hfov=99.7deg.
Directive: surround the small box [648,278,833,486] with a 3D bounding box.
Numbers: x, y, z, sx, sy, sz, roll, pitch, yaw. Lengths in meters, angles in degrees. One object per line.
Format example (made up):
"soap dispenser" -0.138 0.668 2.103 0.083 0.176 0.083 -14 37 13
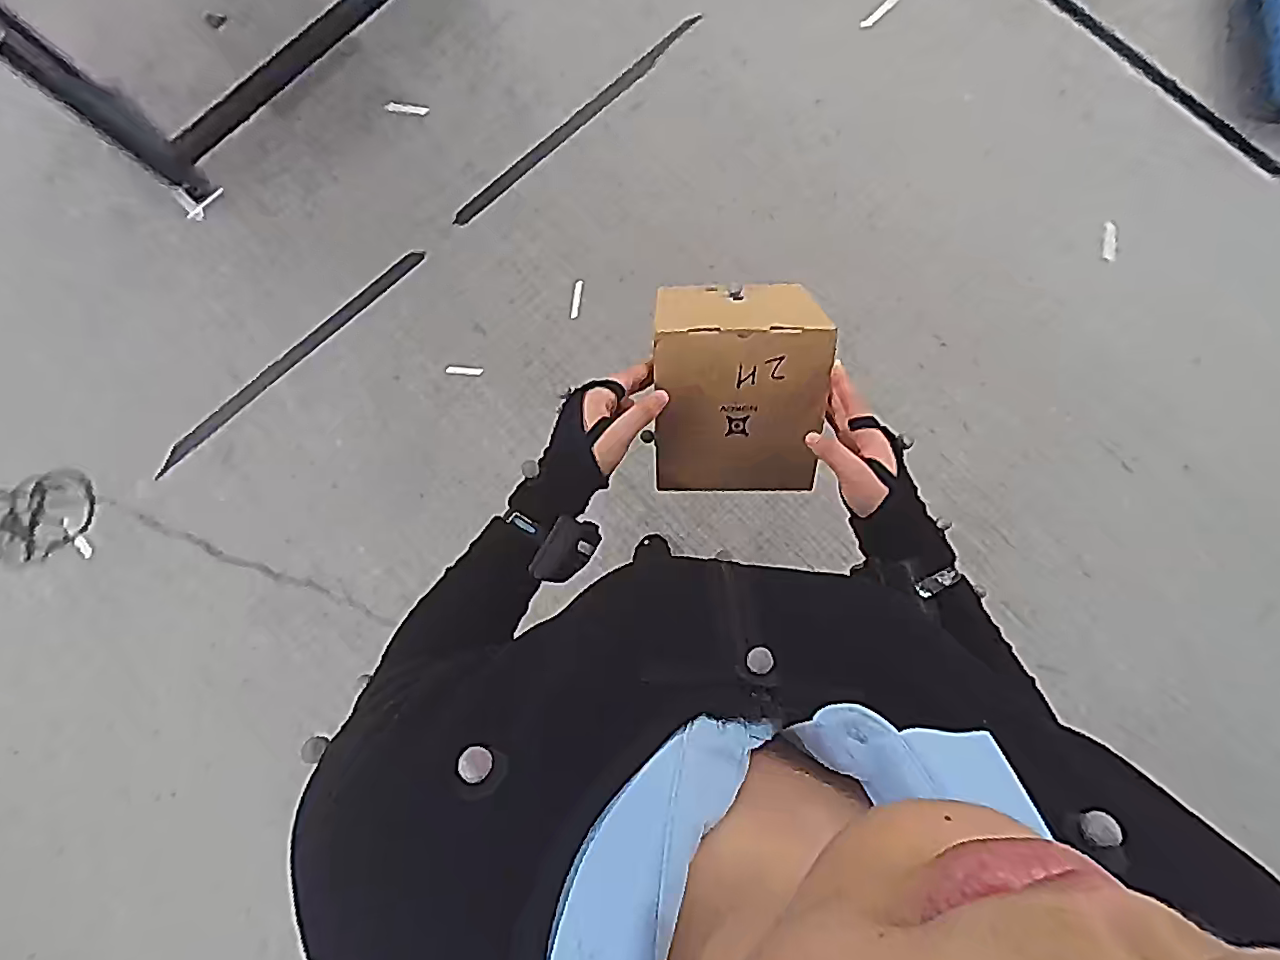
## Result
"small box" 0.094 -0.110 0.589 0.168 0.176 0.179 -1 122 3
